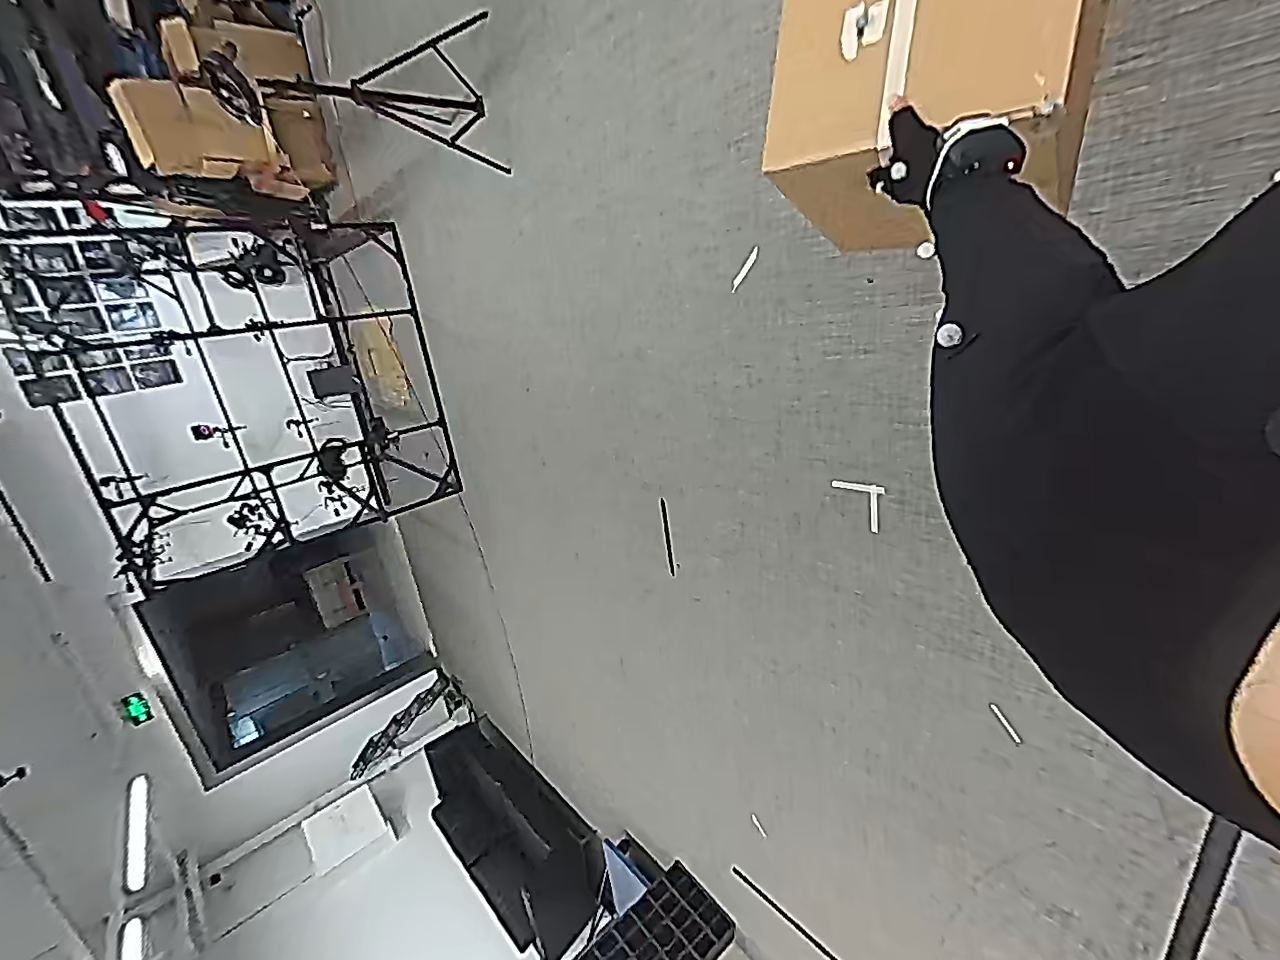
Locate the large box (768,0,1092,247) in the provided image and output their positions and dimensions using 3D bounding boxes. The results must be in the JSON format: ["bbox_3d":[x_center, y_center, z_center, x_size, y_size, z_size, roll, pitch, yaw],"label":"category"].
[{"bbox_3d":[0.394,-0.576,0.714,0.320,0.320,0.408,10,98,39],"label":"large box"}]
